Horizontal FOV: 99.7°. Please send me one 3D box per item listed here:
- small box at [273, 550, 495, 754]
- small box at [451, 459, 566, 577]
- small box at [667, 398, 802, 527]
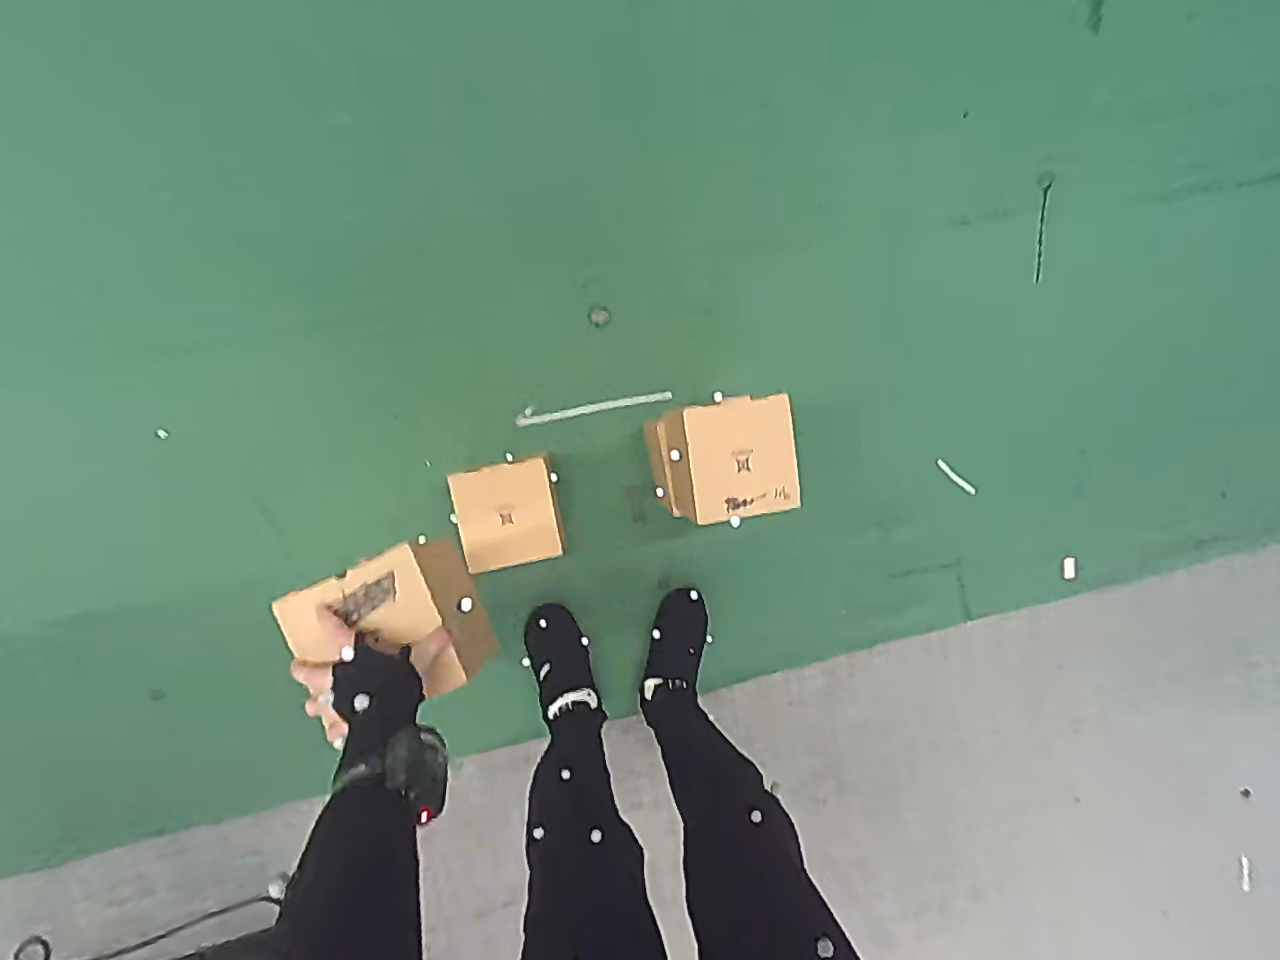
[{"bbox_3d":[-0.305,0.199,0.682,0.168,0.176,0.179,-24,87,-3],"label":"small box"},{"bbox_3d":[-0.235,0.062,1.007,0.168,0.176,0.179,-11,96,-6],"label":"small box"},{"bbox_3d":[0.144,-0.031,0.879,0.168,0.176,0.179,-9,96,-7],"label":"small box"}]
